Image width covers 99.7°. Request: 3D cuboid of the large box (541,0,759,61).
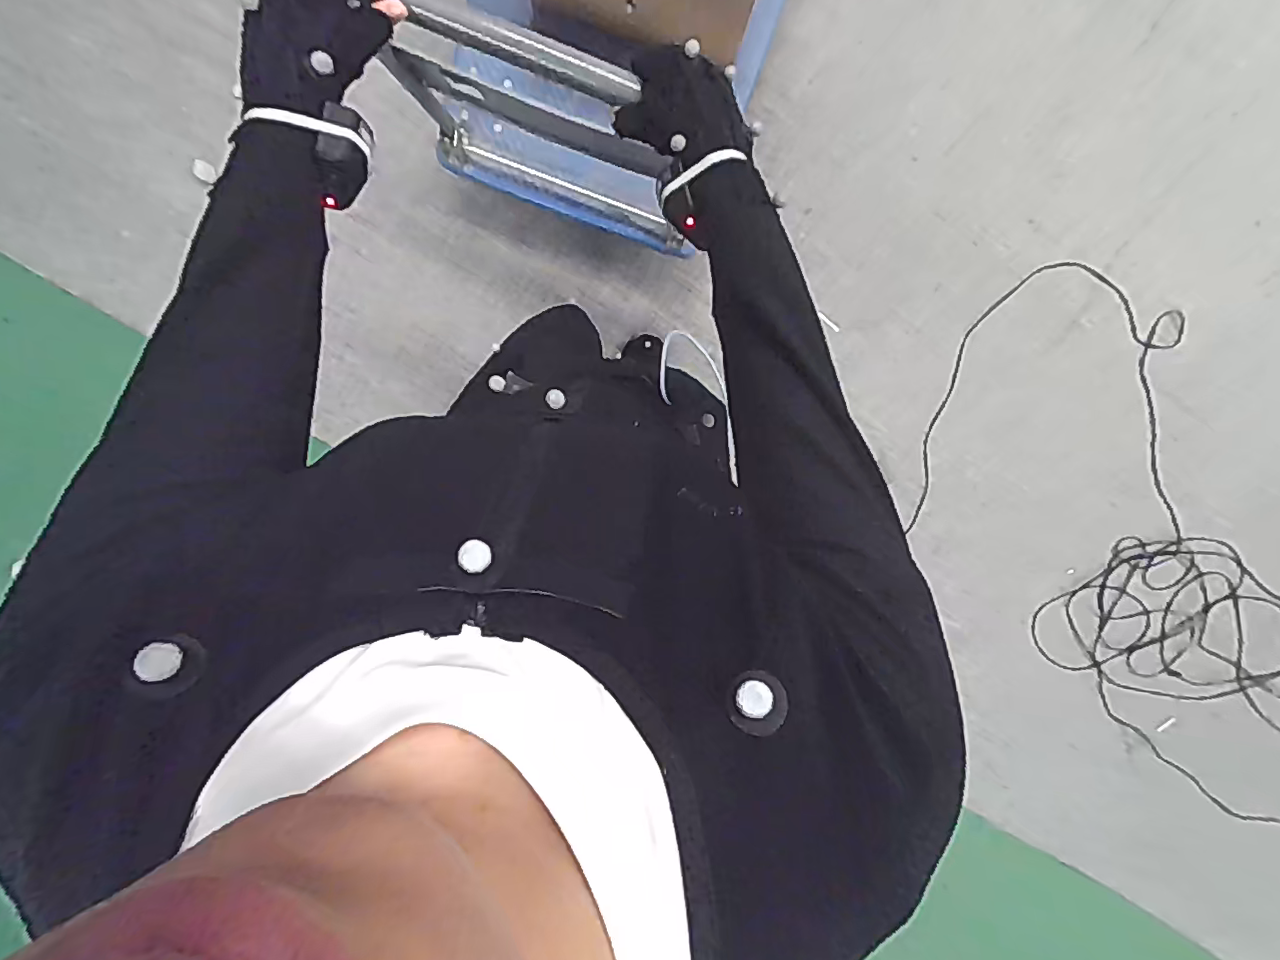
[{"bbox_3d":[0.033,-0.963,0.871,0.408,0.320,0.320,16,107,-3],"label":"large box"}]
